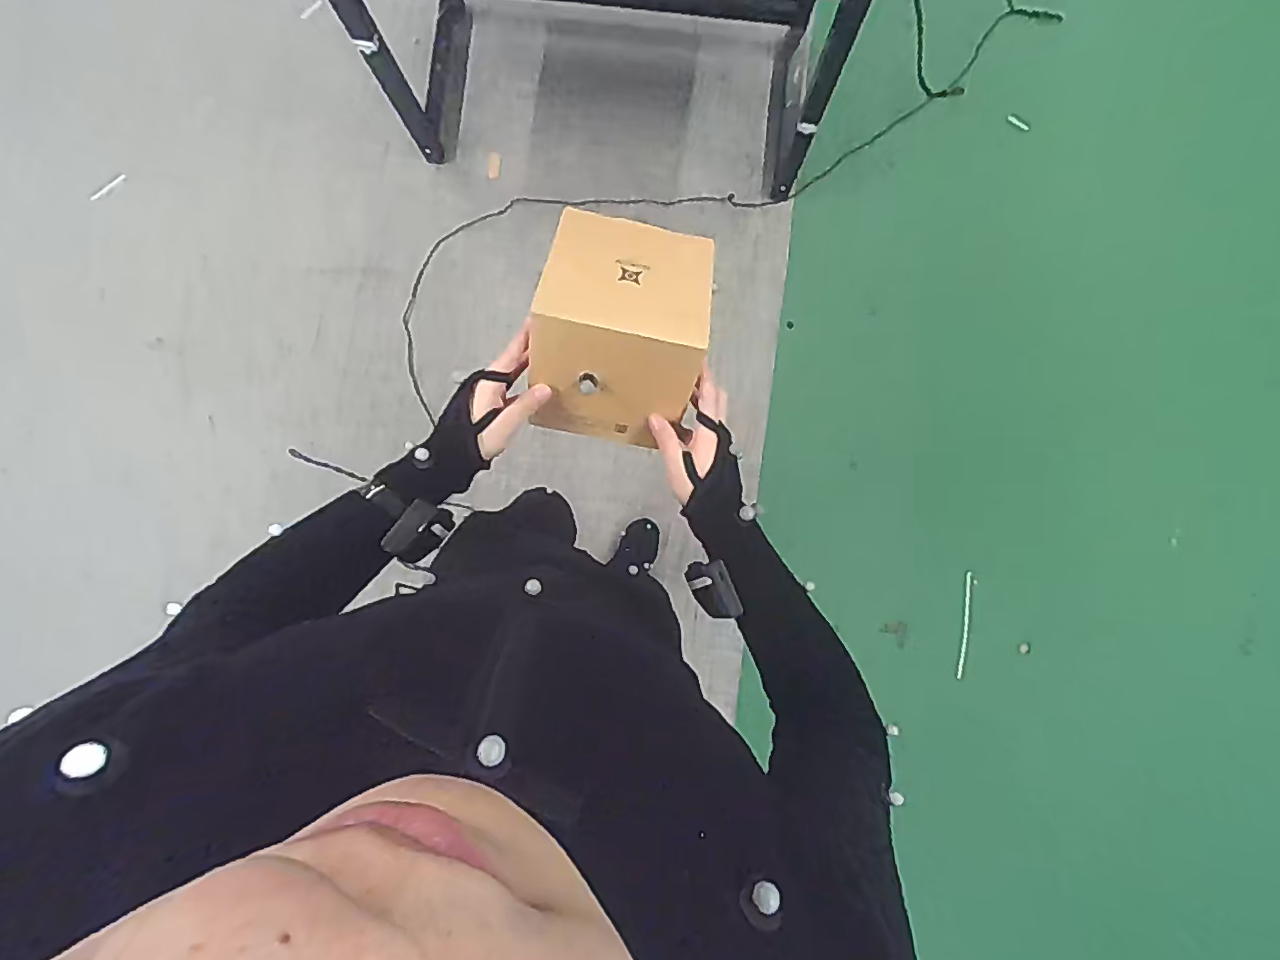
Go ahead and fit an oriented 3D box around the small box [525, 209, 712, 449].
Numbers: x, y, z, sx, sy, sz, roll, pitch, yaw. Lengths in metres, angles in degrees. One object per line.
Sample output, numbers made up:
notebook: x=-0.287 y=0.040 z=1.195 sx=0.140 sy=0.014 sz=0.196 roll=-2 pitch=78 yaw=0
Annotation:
small box: x=-0.024 y=-0.157 z=0.591 sx=0.168 sy=0.176 sz=0.179 roll=10 pitch=55 yaw=-5
